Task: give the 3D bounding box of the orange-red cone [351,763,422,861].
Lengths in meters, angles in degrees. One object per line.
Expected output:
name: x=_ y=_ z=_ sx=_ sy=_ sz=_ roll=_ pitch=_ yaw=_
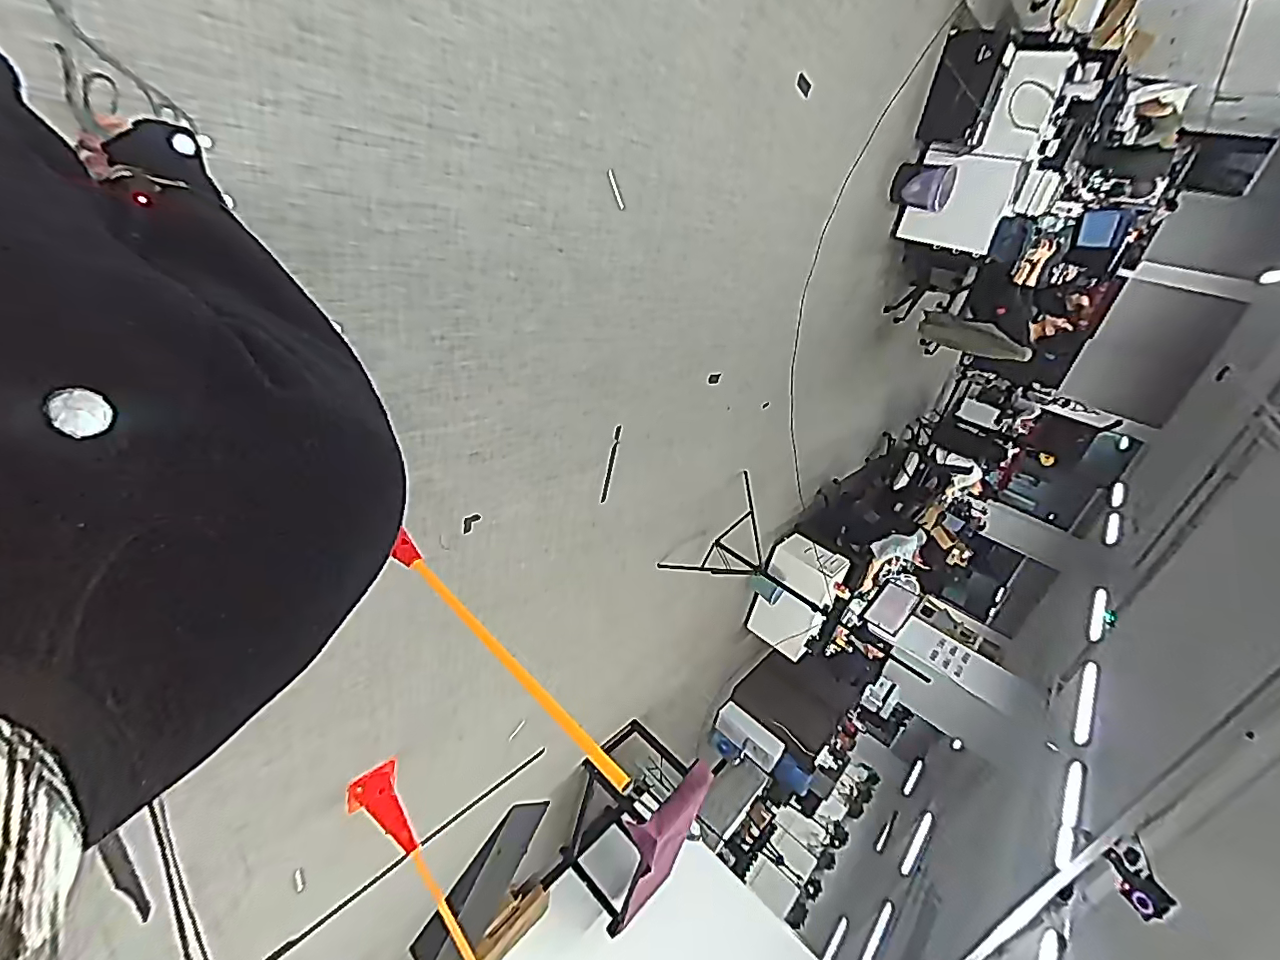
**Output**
orange-red cone: x=-0.981 y=1.369 z=2.170 sx=0.198 sy=0.360 sz=0.199 roll=-16 pitch=130 yaw=-47
